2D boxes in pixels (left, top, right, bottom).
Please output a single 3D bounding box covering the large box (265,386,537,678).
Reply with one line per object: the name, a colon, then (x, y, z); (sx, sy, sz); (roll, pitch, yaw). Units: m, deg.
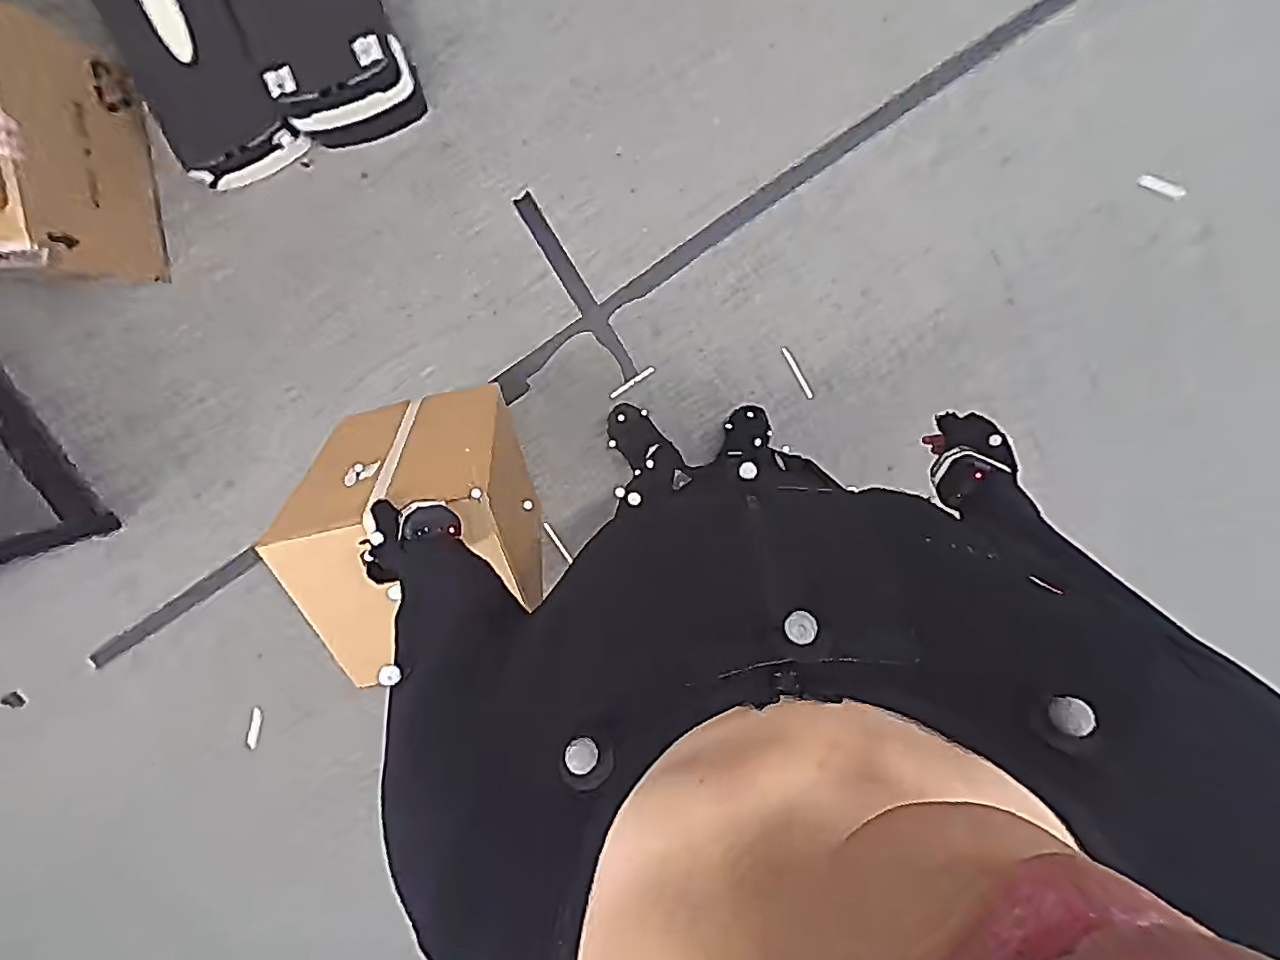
large box: (-0.375, 0.072, 0.981); (0.320, 0.408, 0.320); (-13, 124, -4)
